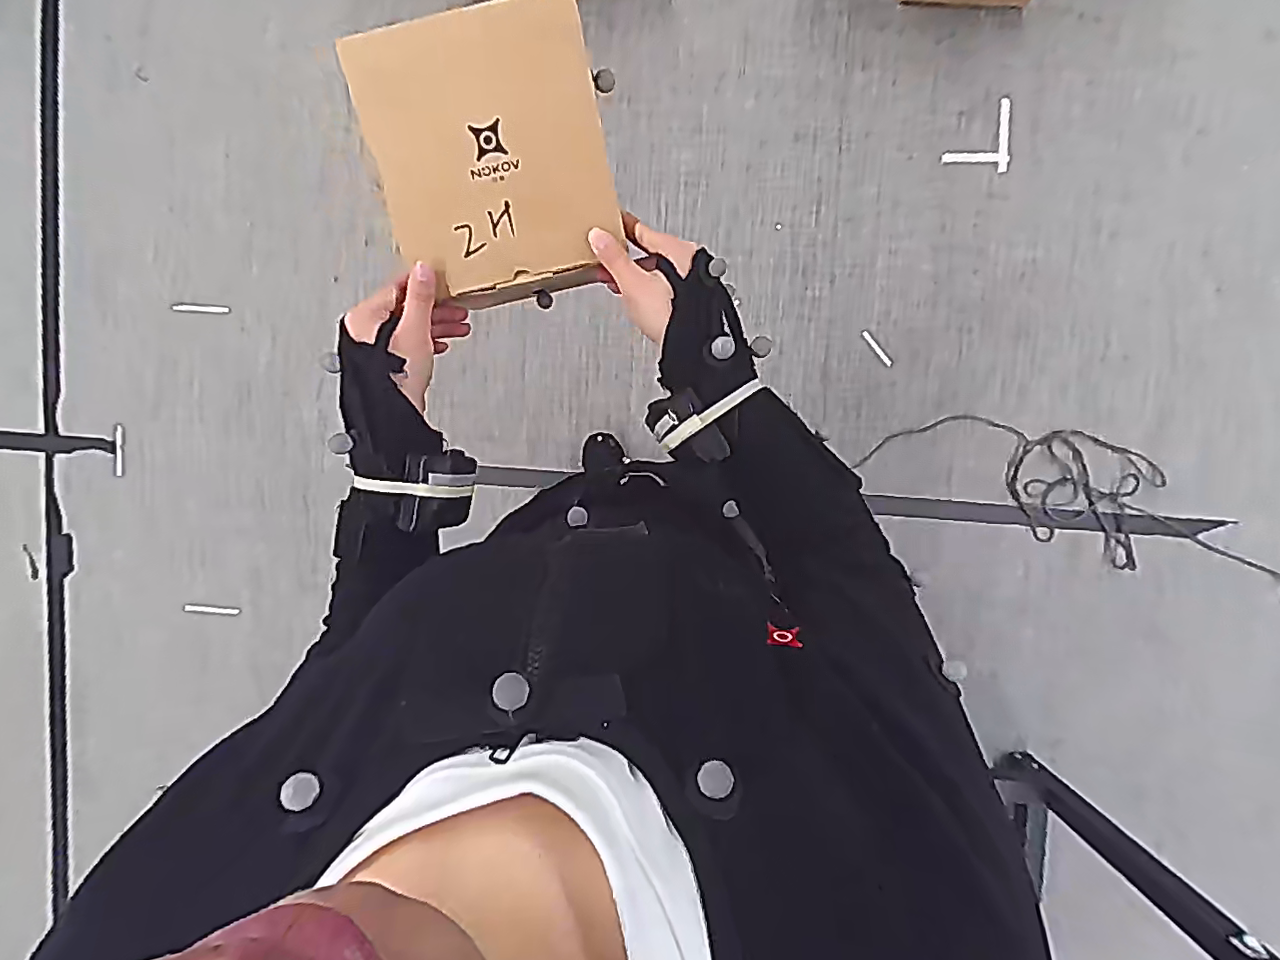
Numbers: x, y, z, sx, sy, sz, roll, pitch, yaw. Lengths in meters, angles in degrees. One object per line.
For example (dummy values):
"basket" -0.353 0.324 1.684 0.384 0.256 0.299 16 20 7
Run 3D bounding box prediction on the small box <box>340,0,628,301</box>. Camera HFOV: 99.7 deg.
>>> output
"small box" -0.109 -0.259 0.458 0.168 0.176 0.179 -12 106 1
